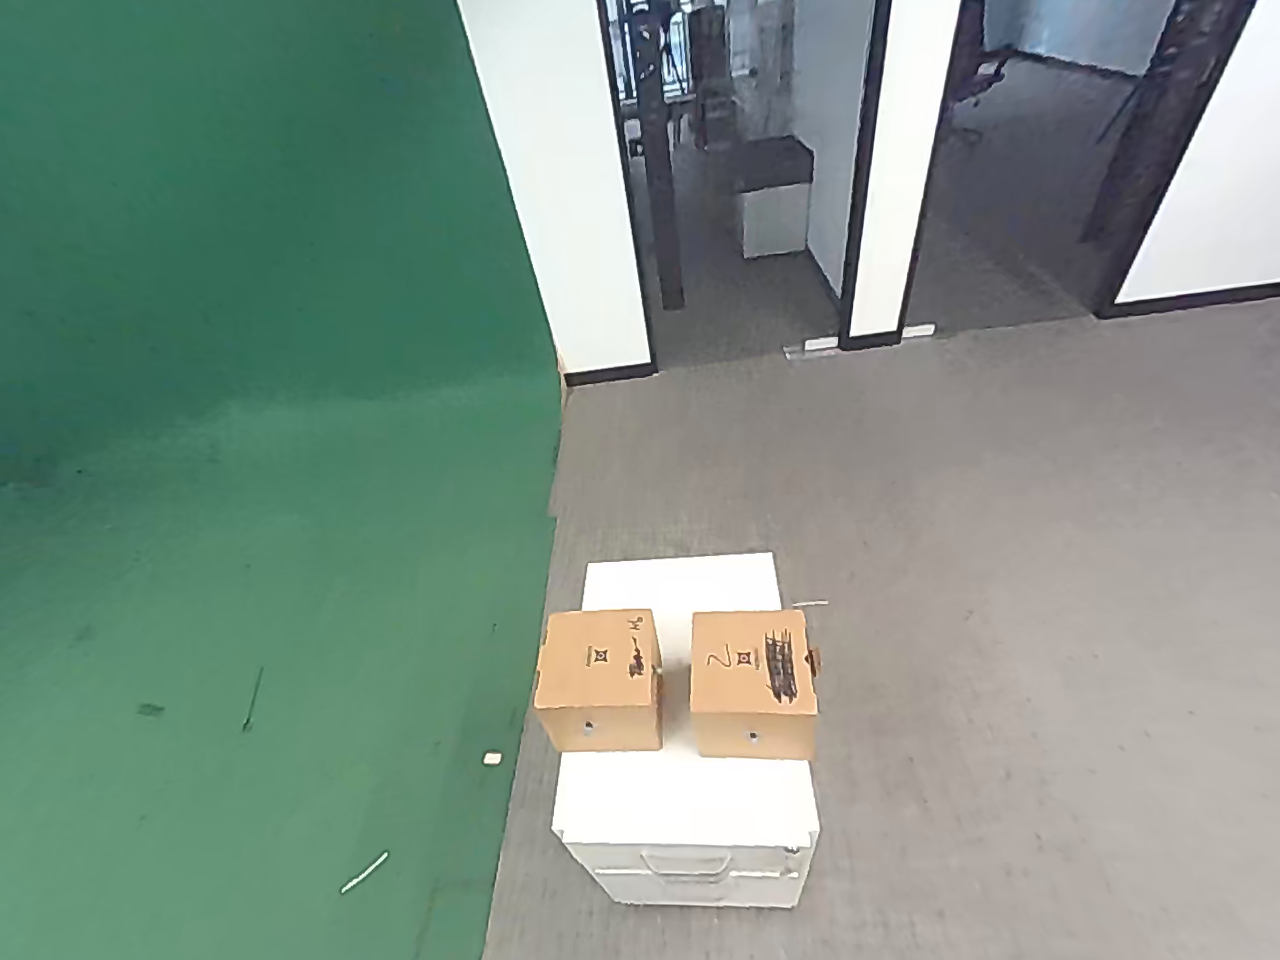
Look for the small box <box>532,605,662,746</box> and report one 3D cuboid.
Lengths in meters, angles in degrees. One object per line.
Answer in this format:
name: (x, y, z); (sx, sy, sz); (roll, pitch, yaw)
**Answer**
small box: (-0.061, 0.326, 0.895); (0.179, 0.176, 0.168); (-4, 43, 6)
